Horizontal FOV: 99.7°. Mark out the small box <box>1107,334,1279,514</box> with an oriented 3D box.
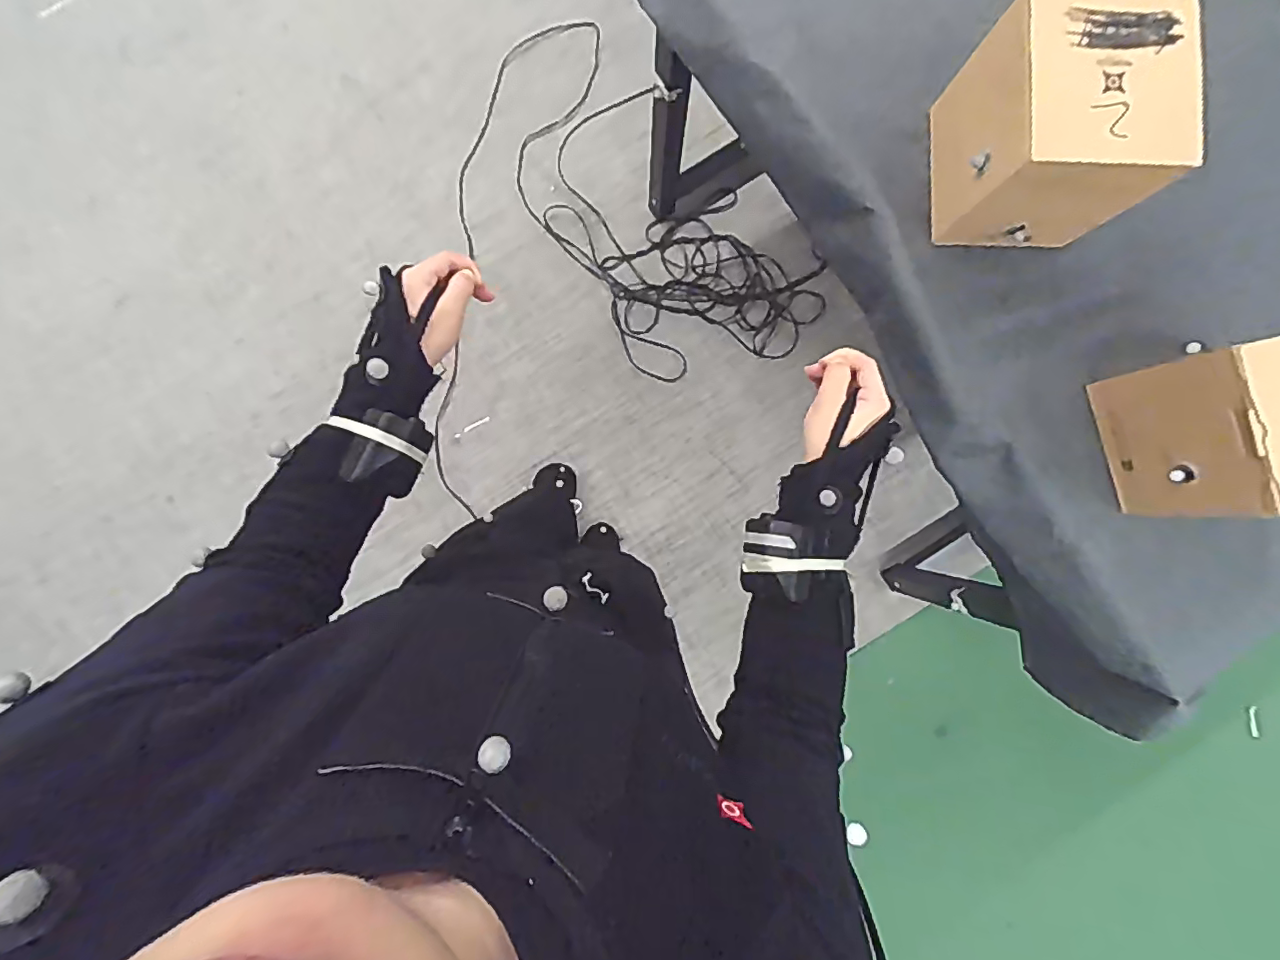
[{"bbox_3d":[0.649,-0.060,0.572,0.179,0.176,0.168,-13,88,-3],"label":"small box"}]
